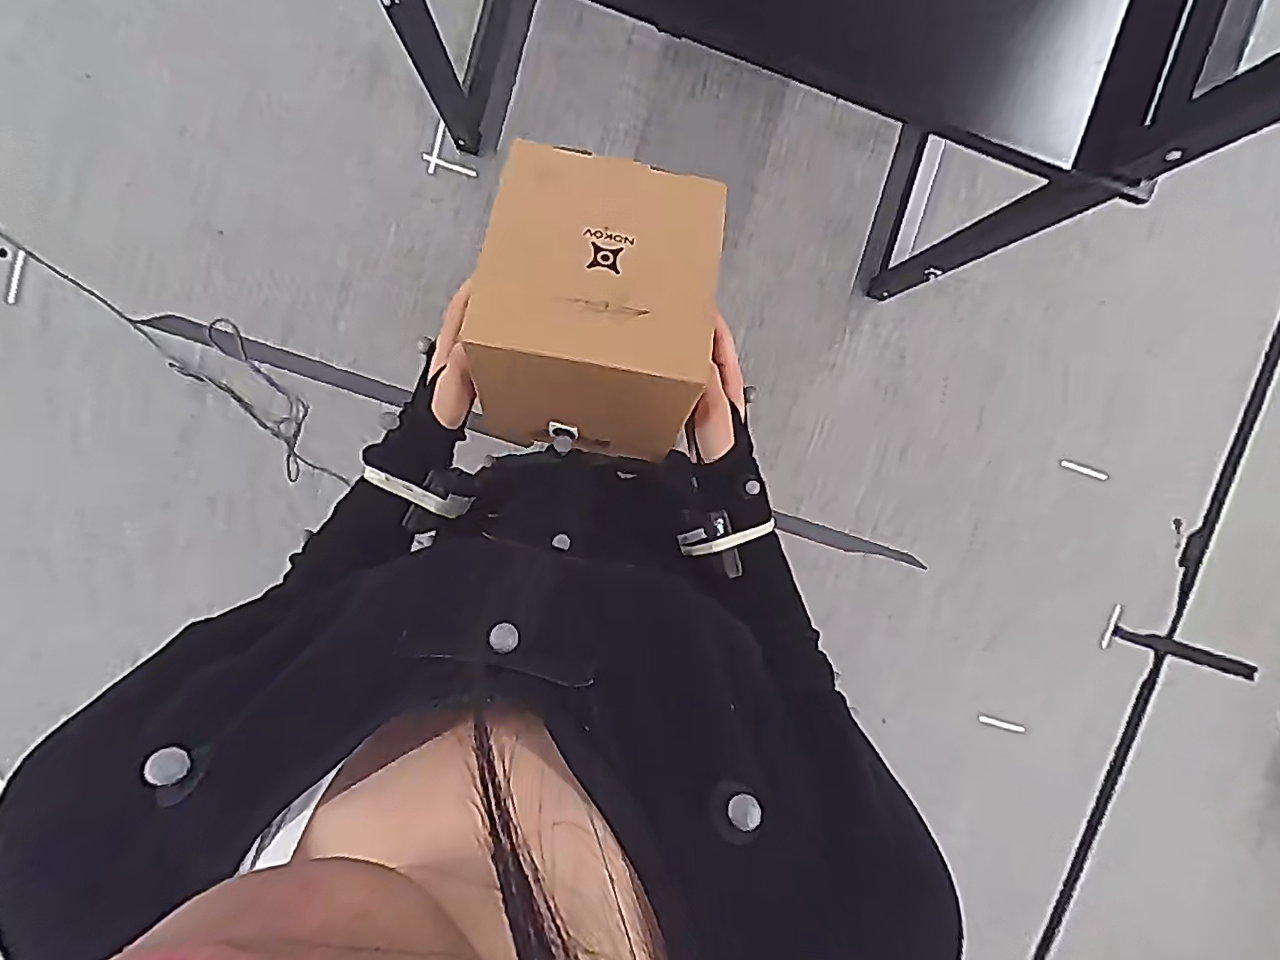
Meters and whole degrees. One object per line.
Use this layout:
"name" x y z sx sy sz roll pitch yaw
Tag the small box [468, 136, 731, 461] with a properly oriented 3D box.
"small box" -0.032 -0.133 0.451 0.168 0.176 0.179 9 73 -5
